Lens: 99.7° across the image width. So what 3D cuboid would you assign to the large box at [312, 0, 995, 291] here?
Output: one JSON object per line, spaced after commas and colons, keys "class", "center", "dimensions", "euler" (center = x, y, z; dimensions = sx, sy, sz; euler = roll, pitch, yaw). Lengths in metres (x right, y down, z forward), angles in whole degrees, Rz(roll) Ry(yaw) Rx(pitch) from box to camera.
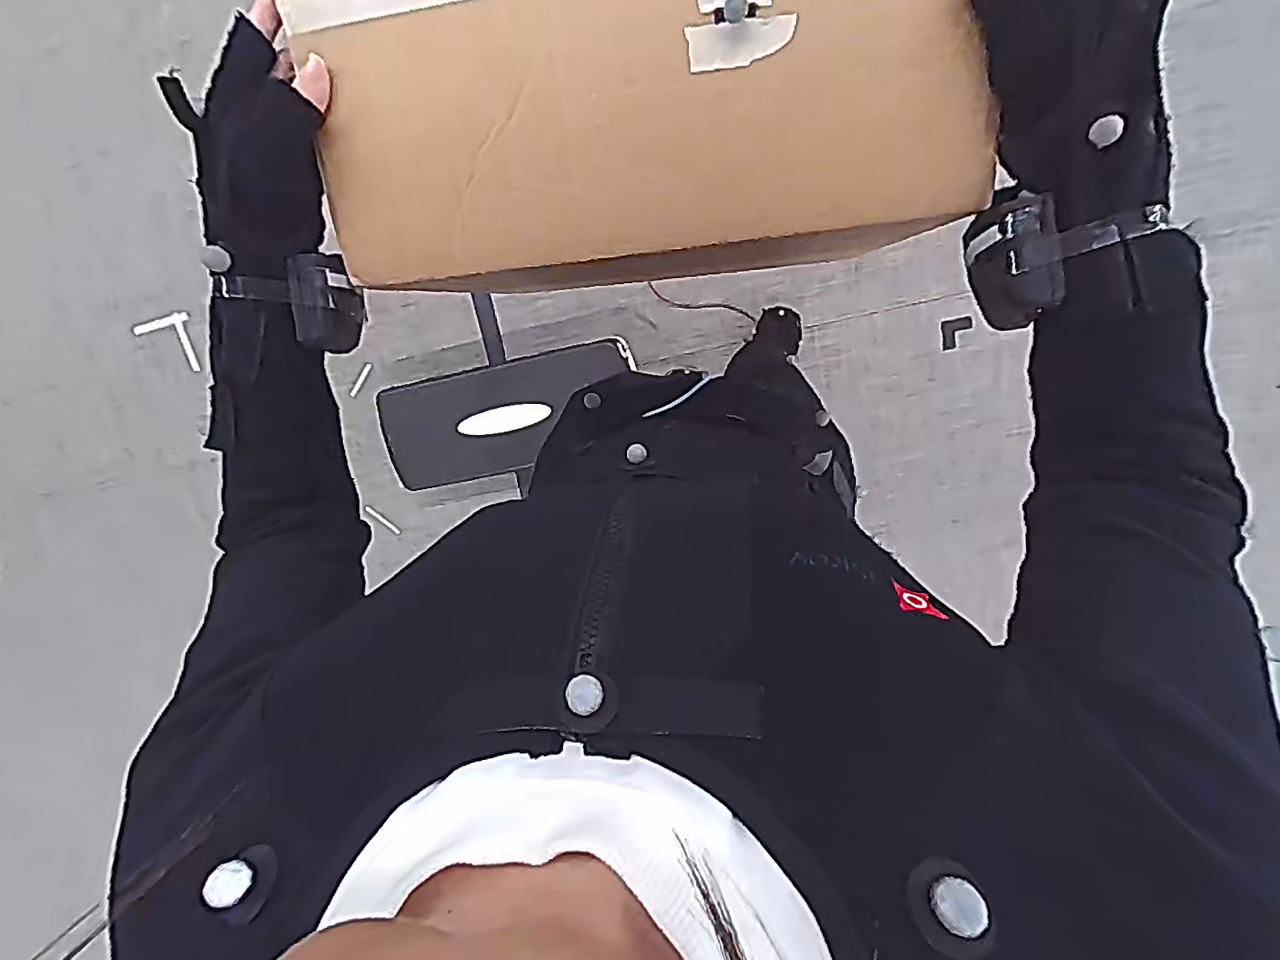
{"class": "large box", "center": [0.009, -0.347, 0.447], "dimensions": [0.408, 0.320, 0.320], "euler": [-4, 108, 9]}
